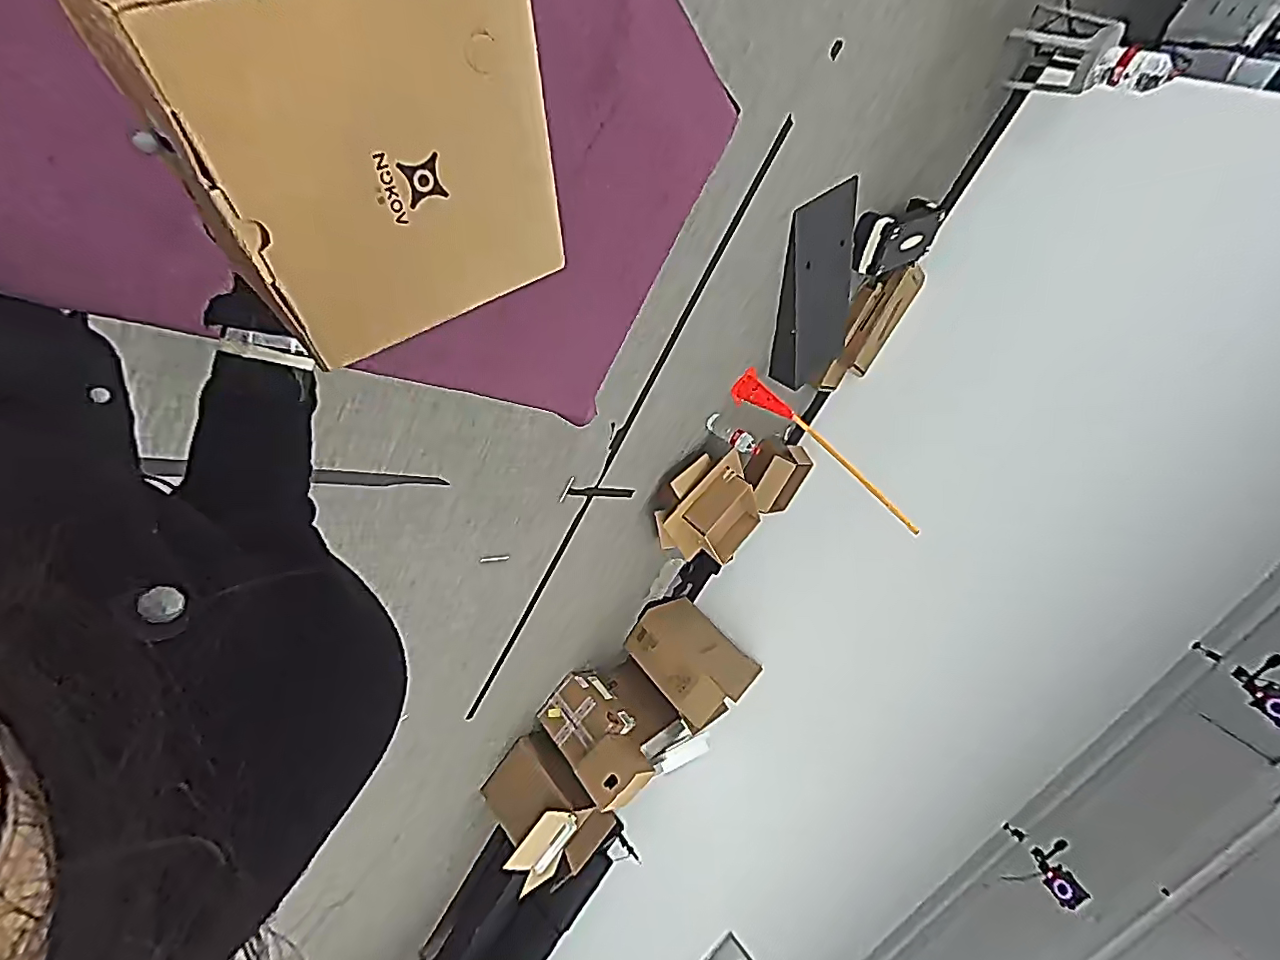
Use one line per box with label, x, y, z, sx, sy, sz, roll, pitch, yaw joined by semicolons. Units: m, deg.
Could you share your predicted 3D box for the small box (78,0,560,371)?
small box;-0.175;-0.206;0.334;0.179;0.176;0.168;-35;150;-24
